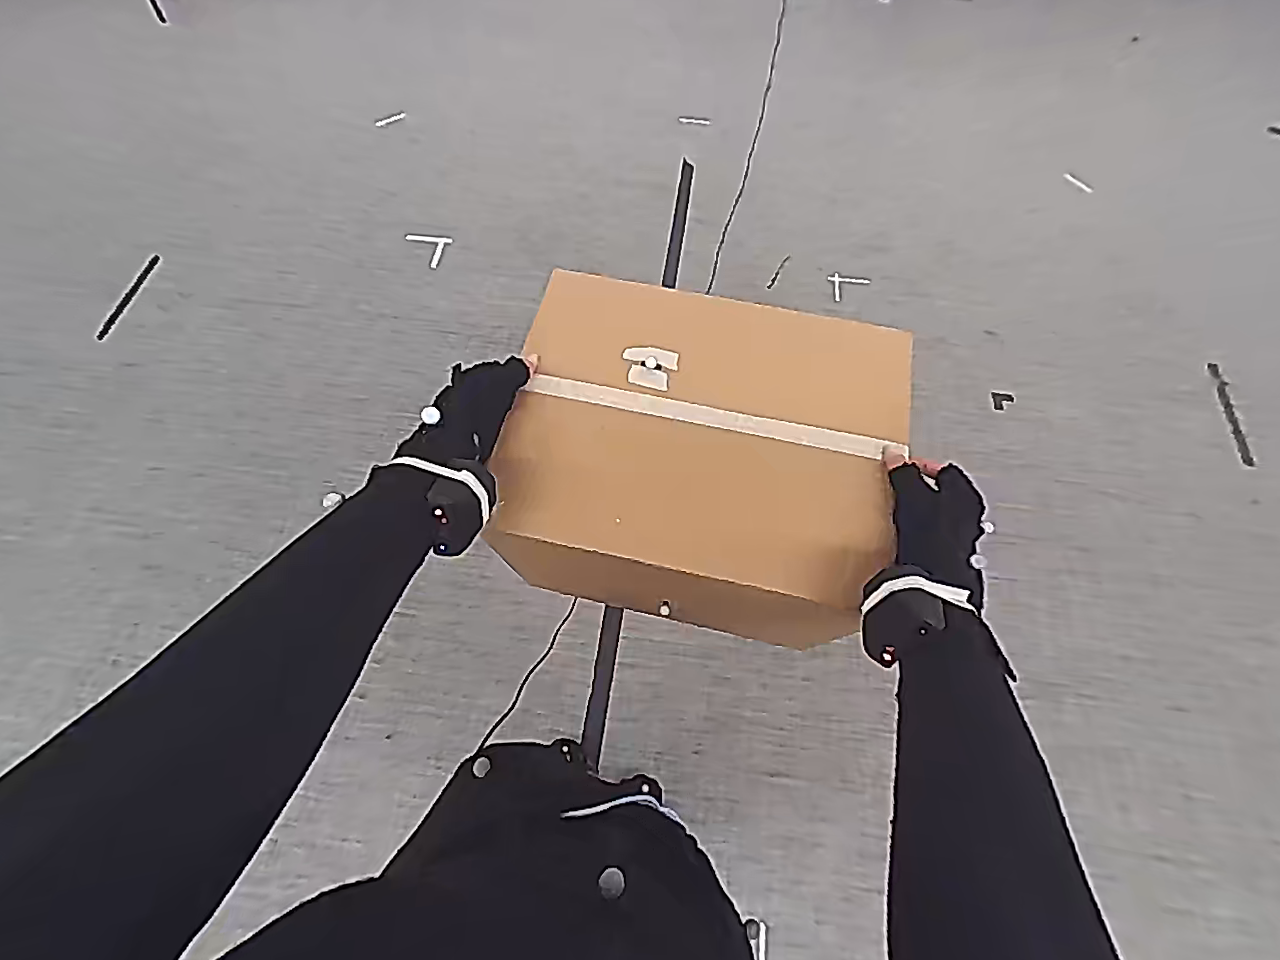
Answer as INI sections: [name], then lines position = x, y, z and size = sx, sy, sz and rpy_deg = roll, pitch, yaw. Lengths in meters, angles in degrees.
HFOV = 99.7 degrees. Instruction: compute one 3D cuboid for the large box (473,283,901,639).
[large box]
position = 0.067, -0.002, 0.696
size = 0.408, 0.320, 0.320
rpy_deg = 12, 67, 6
